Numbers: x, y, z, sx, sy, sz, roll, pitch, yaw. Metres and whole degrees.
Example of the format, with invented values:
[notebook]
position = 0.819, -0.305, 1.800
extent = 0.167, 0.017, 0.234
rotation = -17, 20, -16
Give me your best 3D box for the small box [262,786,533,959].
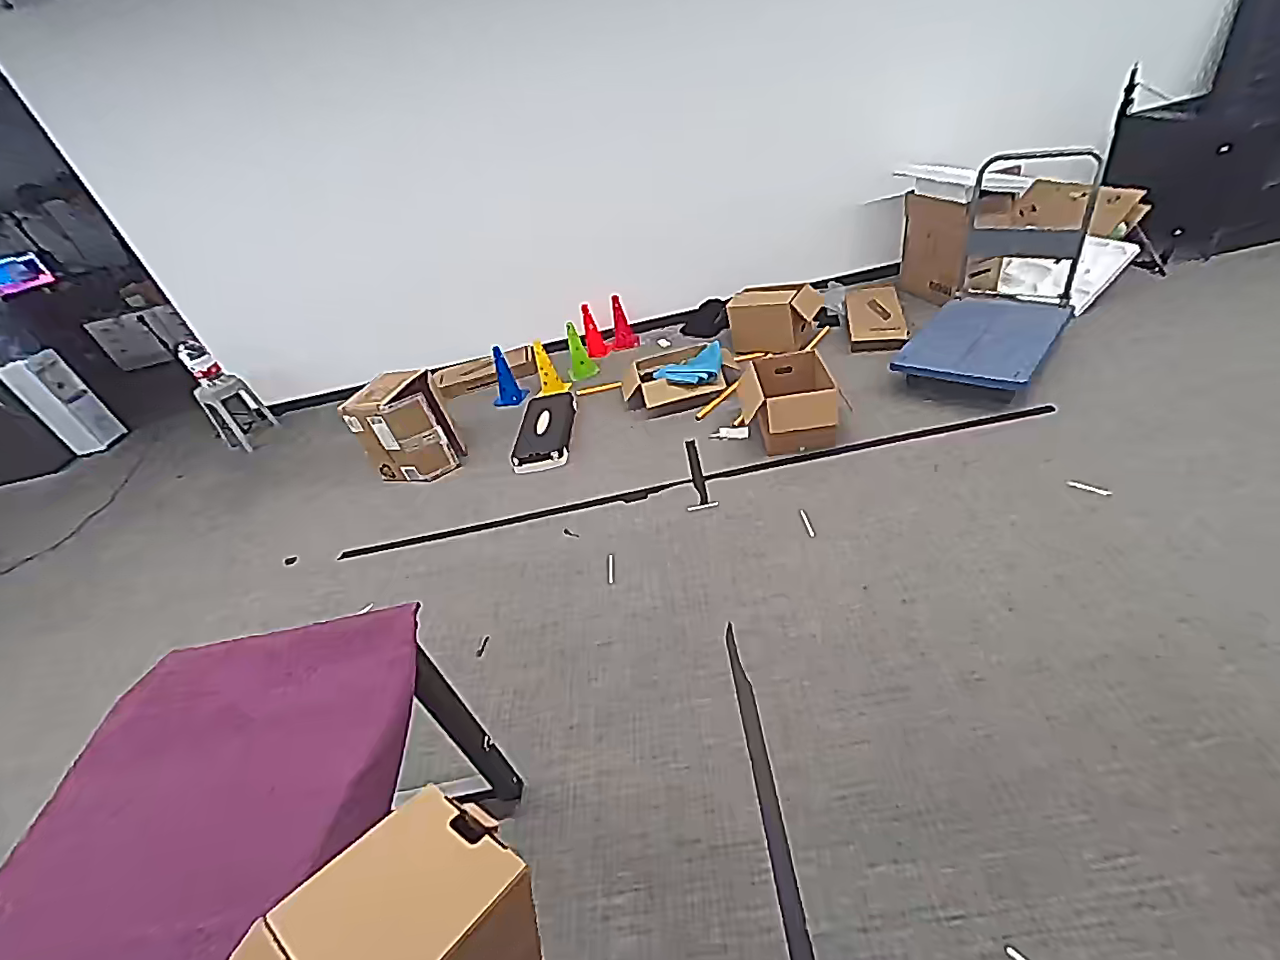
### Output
[small box]
position = -0.223, 0.462, 0.531
extent = 0.168, 0.176, 0.179
rotation = 13, 24, 35
